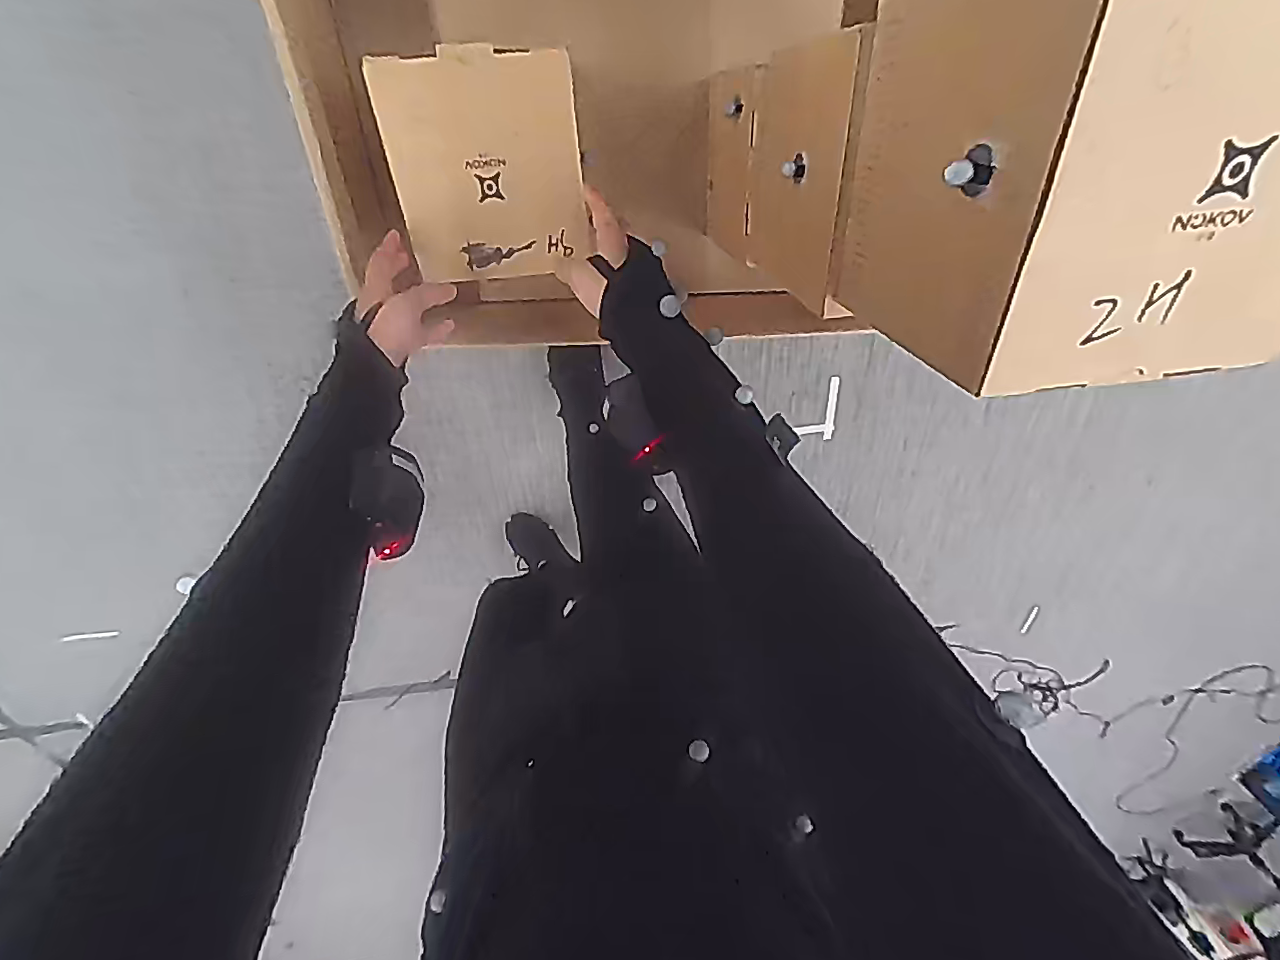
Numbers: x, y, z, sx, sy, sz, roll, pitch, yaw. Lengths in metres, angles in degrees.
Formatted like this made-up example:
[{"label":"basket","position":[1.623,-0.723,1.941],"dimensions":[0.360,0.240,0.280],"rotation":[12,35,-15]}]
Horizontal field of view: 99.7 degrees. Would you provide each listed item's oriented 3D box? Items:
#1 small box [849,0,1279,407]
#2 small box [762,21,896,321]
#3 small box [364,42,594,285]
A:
[{"label":"small box","position":[0.232,-0.161,0.286],"dimensions":[0.168,0.176,0.179],"rotation":[-7,126,-4]},{"label":"small box","position":[0.203,-0.243,0.426],"dimensions":[0.168,0.176,0.179],"rotation":[-7,125,-5]},{"label":"small box","position":[-0.139,-0.307,0.533],"dimensions":[0.168,0.176,0.179],"rotation":[-6,125,-3]}]
